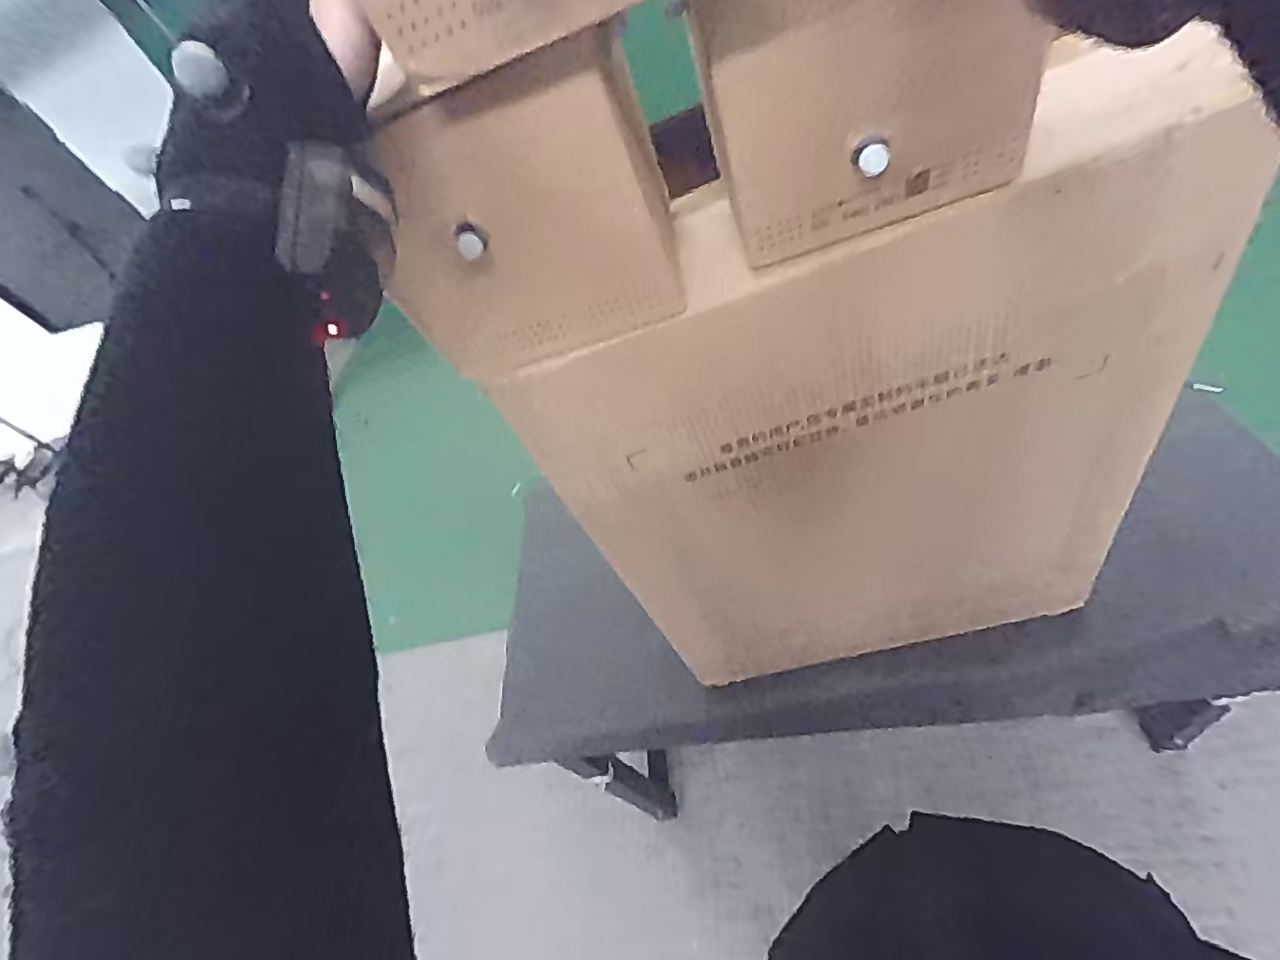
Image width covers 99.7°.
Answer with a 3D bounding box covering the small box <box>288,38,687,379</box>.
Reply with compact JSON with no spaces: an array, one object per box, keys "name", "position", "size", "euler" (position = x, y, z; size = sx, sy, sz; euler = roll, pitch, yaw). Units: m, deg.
[{"name":"small box","position":[-0.078,-0.193,0.366],"size":[0.179,0.176,0.168],"euler":[-13,55,14]}]
